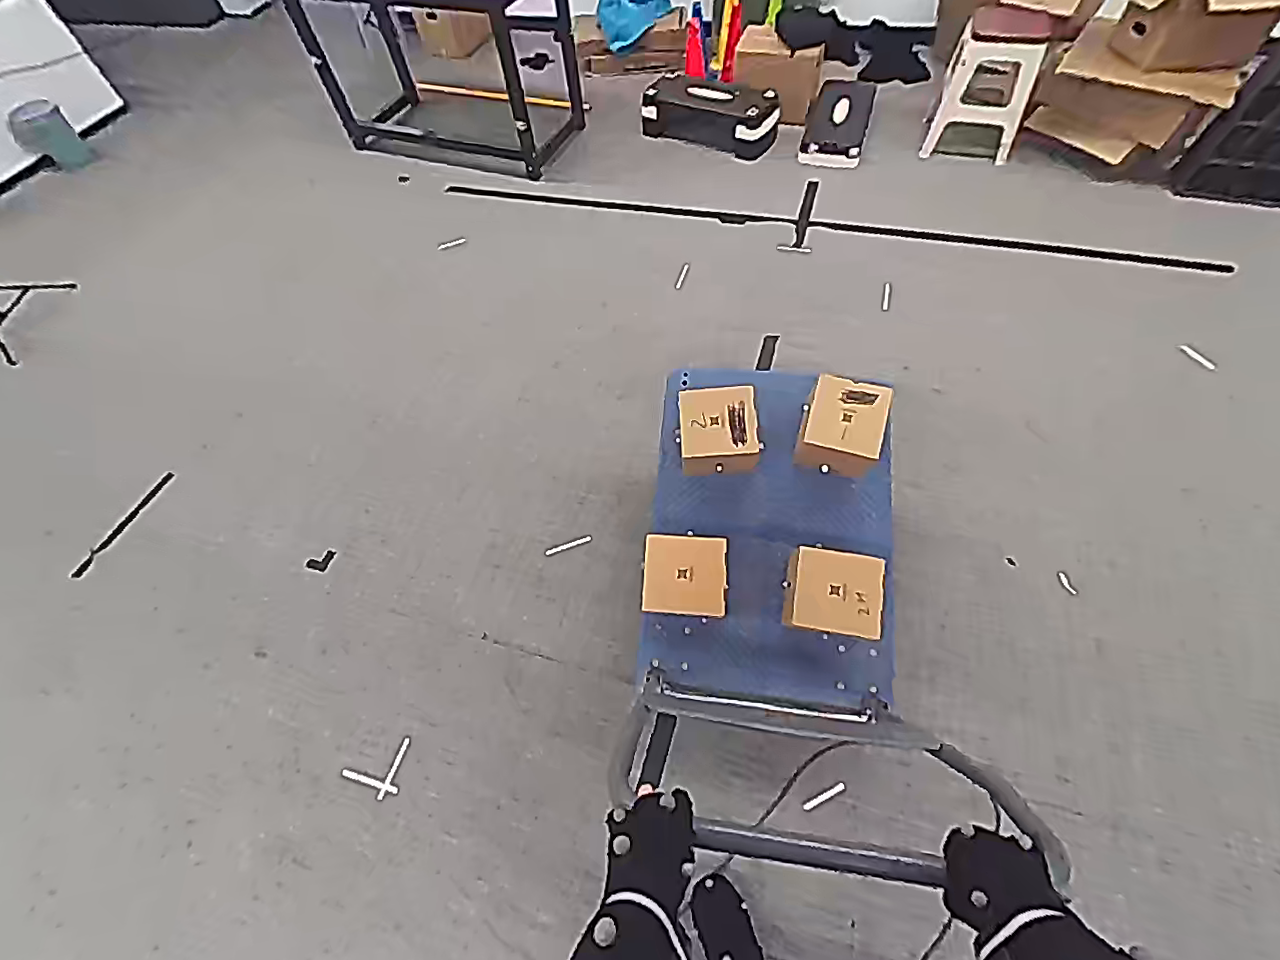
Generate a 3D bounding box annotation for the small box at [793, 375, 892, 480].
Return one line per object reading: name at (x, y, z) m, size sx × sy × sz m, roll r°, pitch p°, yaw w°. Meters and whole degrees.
small box at (0.472, -0.119, 1.283) m, size 0.168 × 0.176 × 0.179 m, roll 15°, pitch 77°, yaw 10°

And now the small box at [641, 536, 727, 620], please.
small box at (0.101, 0.226, 1.223) m, size 0.179 × 0.176 × 0.168 m, roll 2°, pitch 74°, yaw 5°

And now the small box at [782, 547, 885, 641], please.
small box at (0.414, 0.254, 1.182) m, size 0.179 × 0.176 × 0.168 m, roll 8°, pitch 75°, yaw 9°
